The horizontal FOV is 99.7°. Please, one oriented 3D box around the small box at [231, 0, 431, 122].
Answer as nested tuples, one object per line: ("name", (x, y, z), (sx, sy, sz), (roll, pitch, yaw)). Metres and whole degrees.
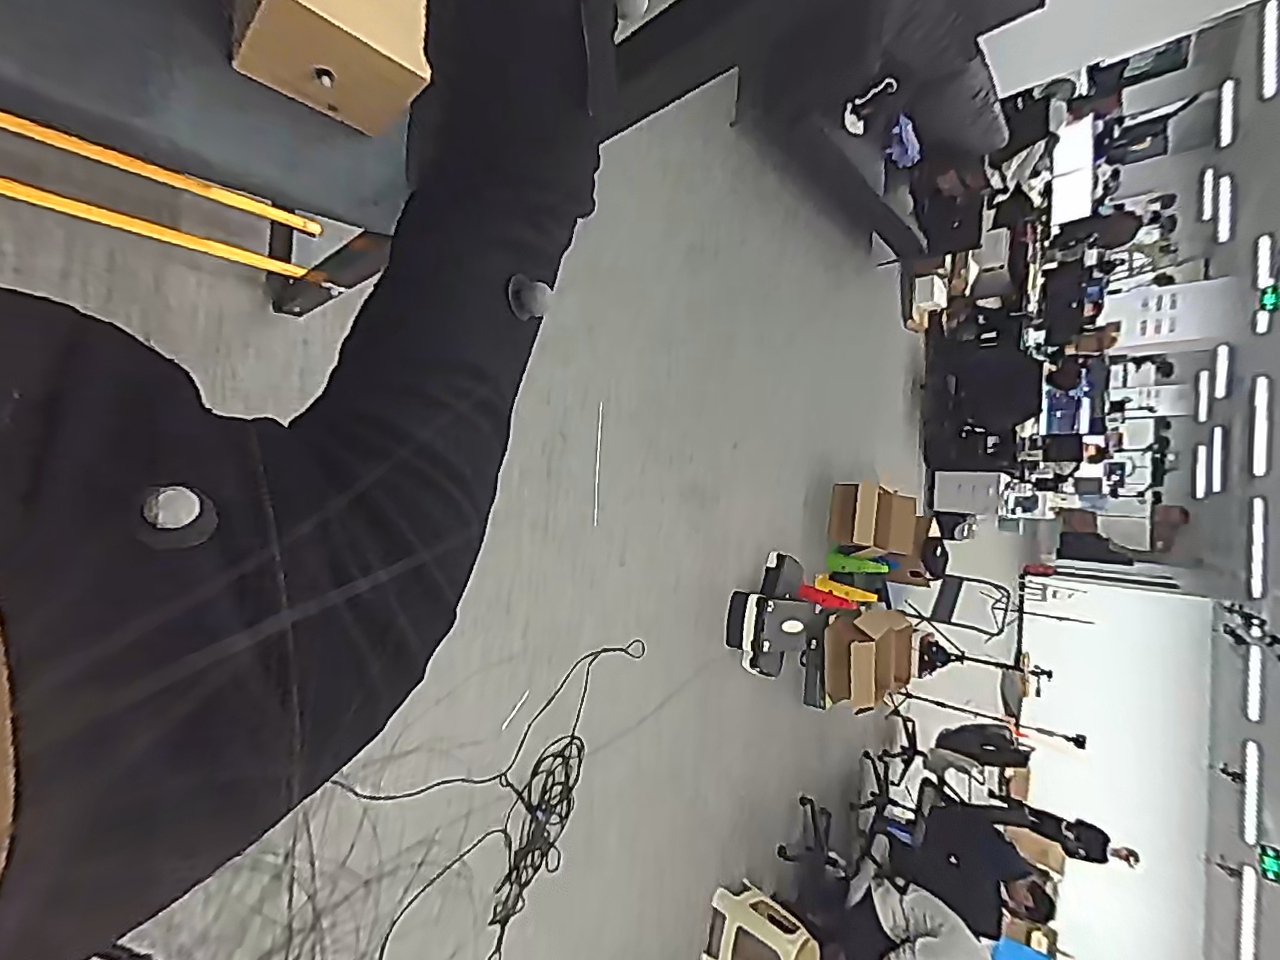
("small box", (-0.366, -0.576, 0.642), (0.168, 0.176, 0.179), (4, 88, -48))
